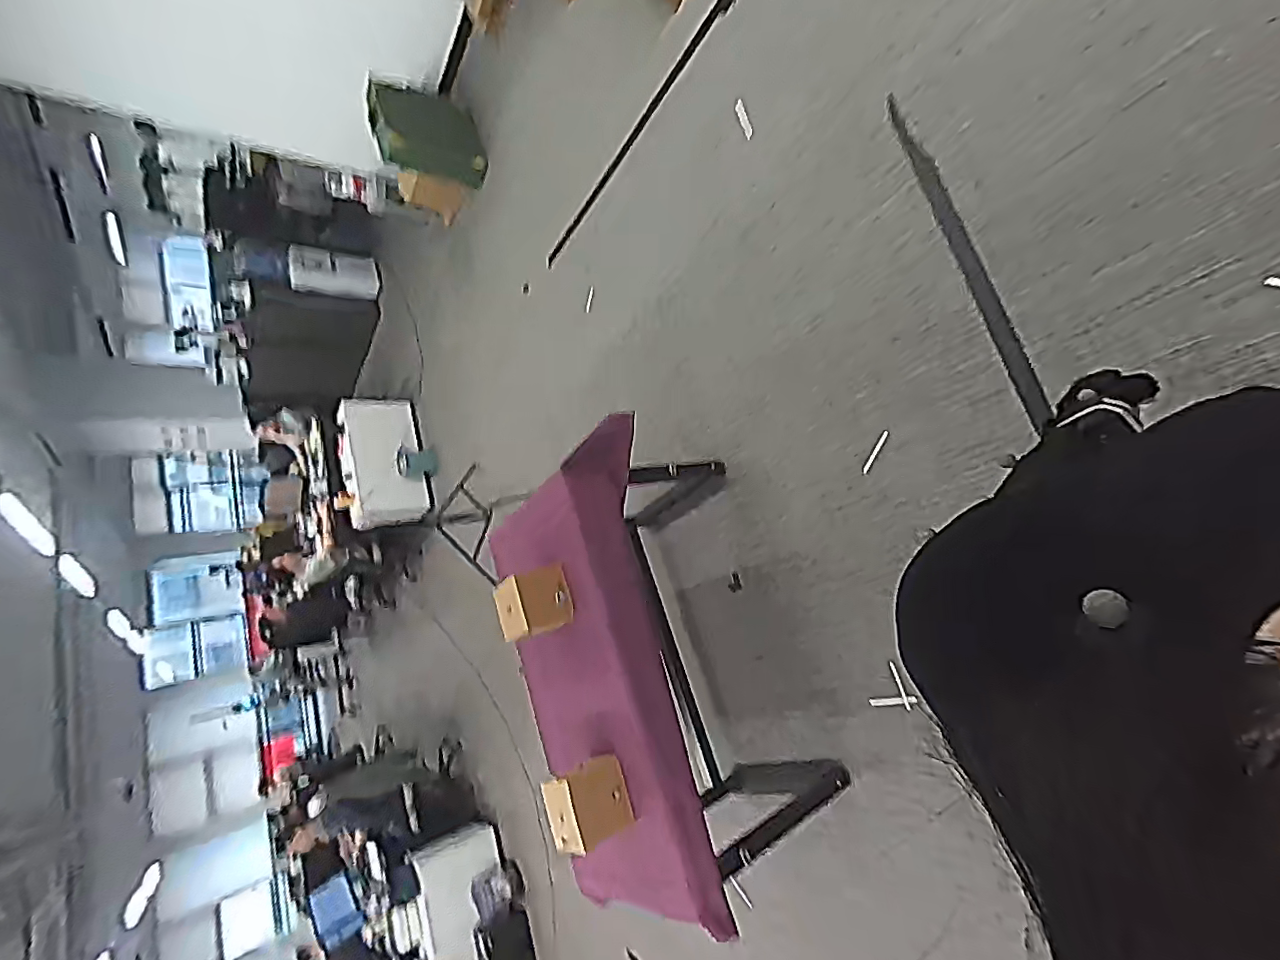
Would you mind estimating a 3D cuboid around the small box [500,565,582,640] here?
[{"bbox_3d":[-0.302,0.372,1.647,0.179,0.176,0.168,-39,66,46],"label":"small box"}]

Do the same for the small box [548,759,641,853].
[{"bbox_3d":[-0.124,0.877,1.475,0.168,0.176,0.179,-38,64,47],"label":"small box"}]
